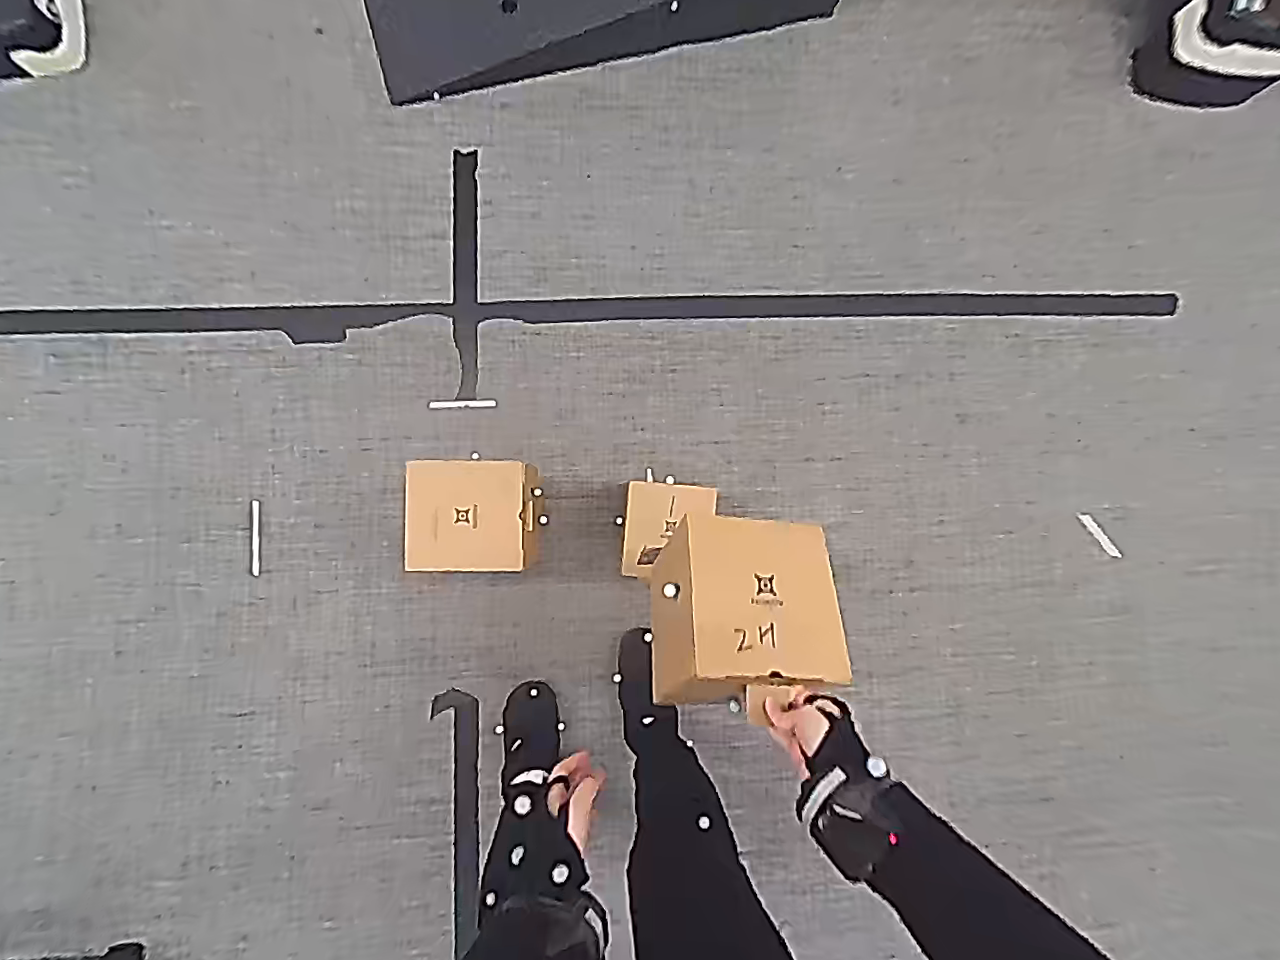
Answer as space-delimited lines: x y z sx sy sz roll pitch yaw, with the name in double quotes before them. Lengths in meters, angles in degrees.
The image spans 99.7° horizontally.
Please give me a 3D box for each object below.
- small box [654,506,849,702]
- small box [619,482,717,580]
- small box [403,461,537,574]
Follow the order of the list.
"small box" 0.113 0.152 0.635 0.168 0.176 0.179 6 59 -10
"small box" 0.047 0.099 1.059 0.168 0.176 0.179 5 87 -4
"small box" -0.262 0.057 0.872 0.179 0.176 0.168 1 88 -3
